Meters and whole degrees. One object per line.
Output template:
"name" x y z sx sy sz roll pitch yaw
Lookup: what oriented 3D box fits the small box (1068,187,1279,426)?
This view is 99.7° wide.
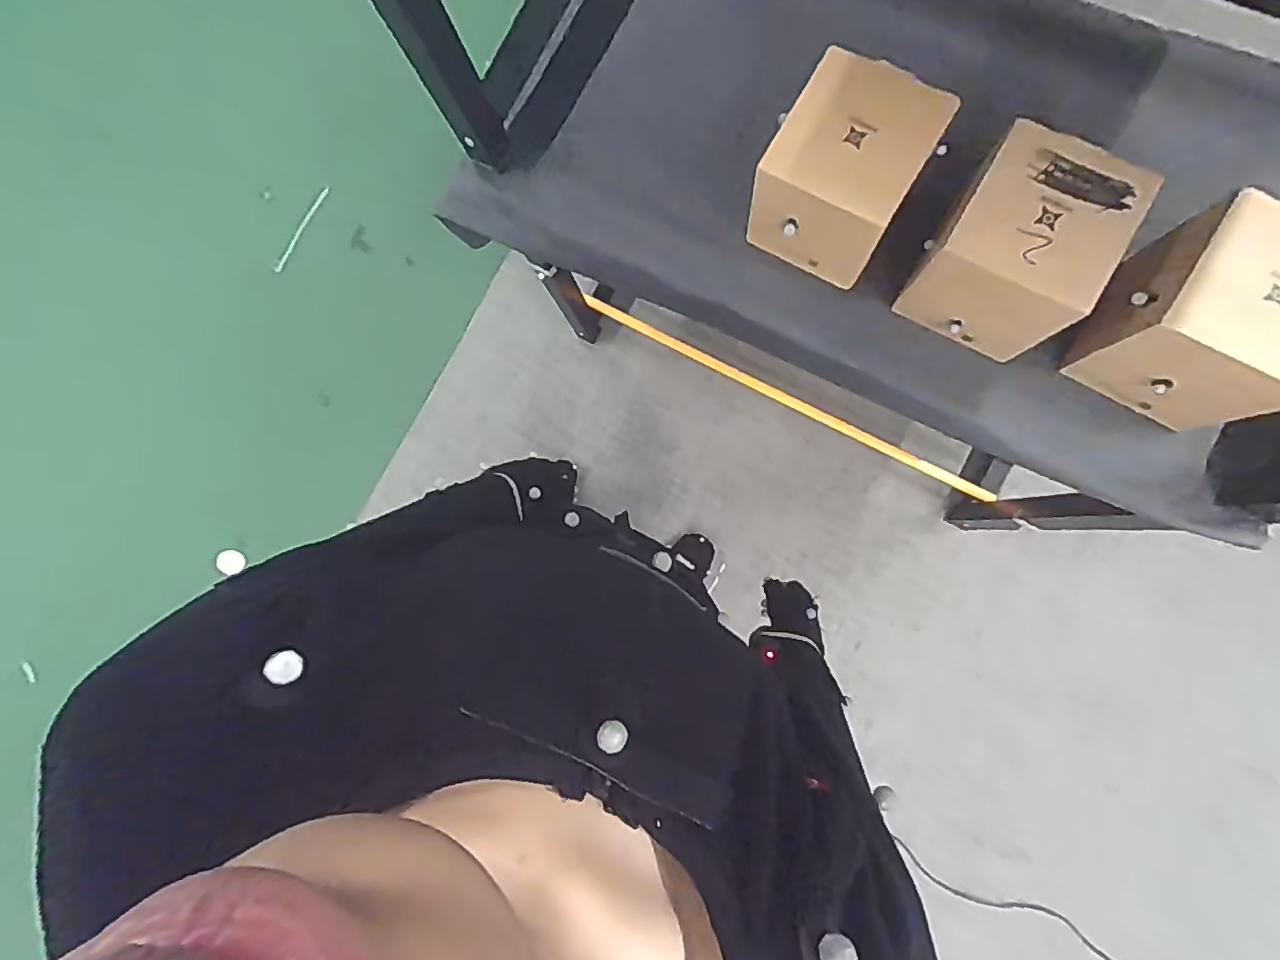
"small box" 0.656 -0.183 0.628 0.168 0.176 0.179 32 88 8

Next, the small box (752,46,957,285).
"small box" 0.258 -0.387 0.698 0.168 0.176 0.179 31 88 9
